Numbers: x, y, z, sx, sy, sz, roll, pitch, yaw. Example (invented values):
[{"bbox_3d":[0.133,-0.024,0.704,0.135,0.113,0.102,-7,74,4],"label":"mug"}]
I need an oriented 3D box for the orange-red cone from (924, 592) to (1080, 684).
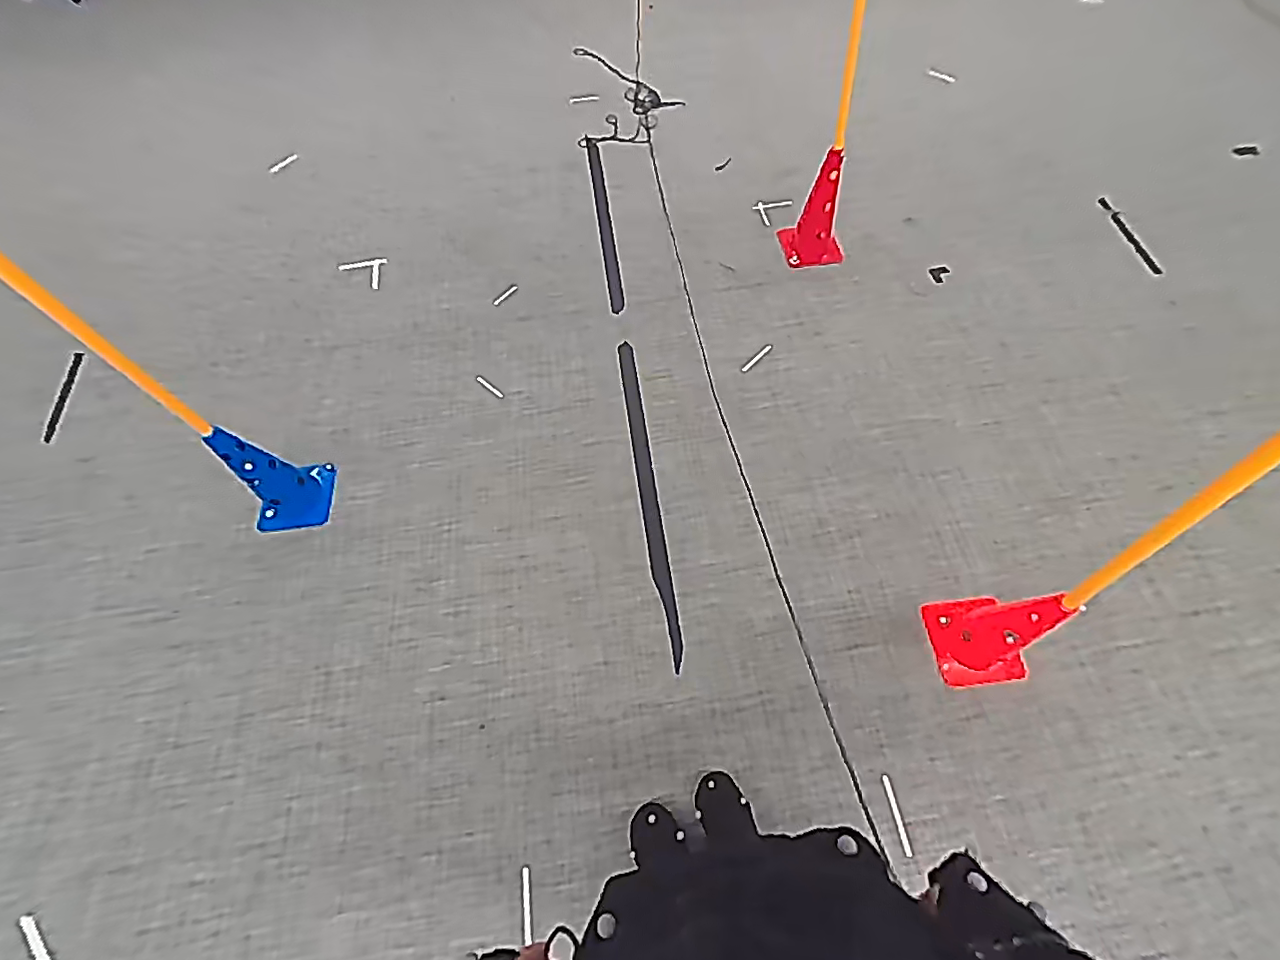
[{"bbox_3d":[0.797,0.303,1.147,0.198,0.360,0.199,-5,63,0],"label":"orange-red cone"}]

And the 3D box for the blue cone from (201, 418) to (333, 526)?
[{"bbox_3d":[-0.998,-0.034,1.420,0.193,0.380,0.192,-5,62,-1],"label":"blue cone"}]
